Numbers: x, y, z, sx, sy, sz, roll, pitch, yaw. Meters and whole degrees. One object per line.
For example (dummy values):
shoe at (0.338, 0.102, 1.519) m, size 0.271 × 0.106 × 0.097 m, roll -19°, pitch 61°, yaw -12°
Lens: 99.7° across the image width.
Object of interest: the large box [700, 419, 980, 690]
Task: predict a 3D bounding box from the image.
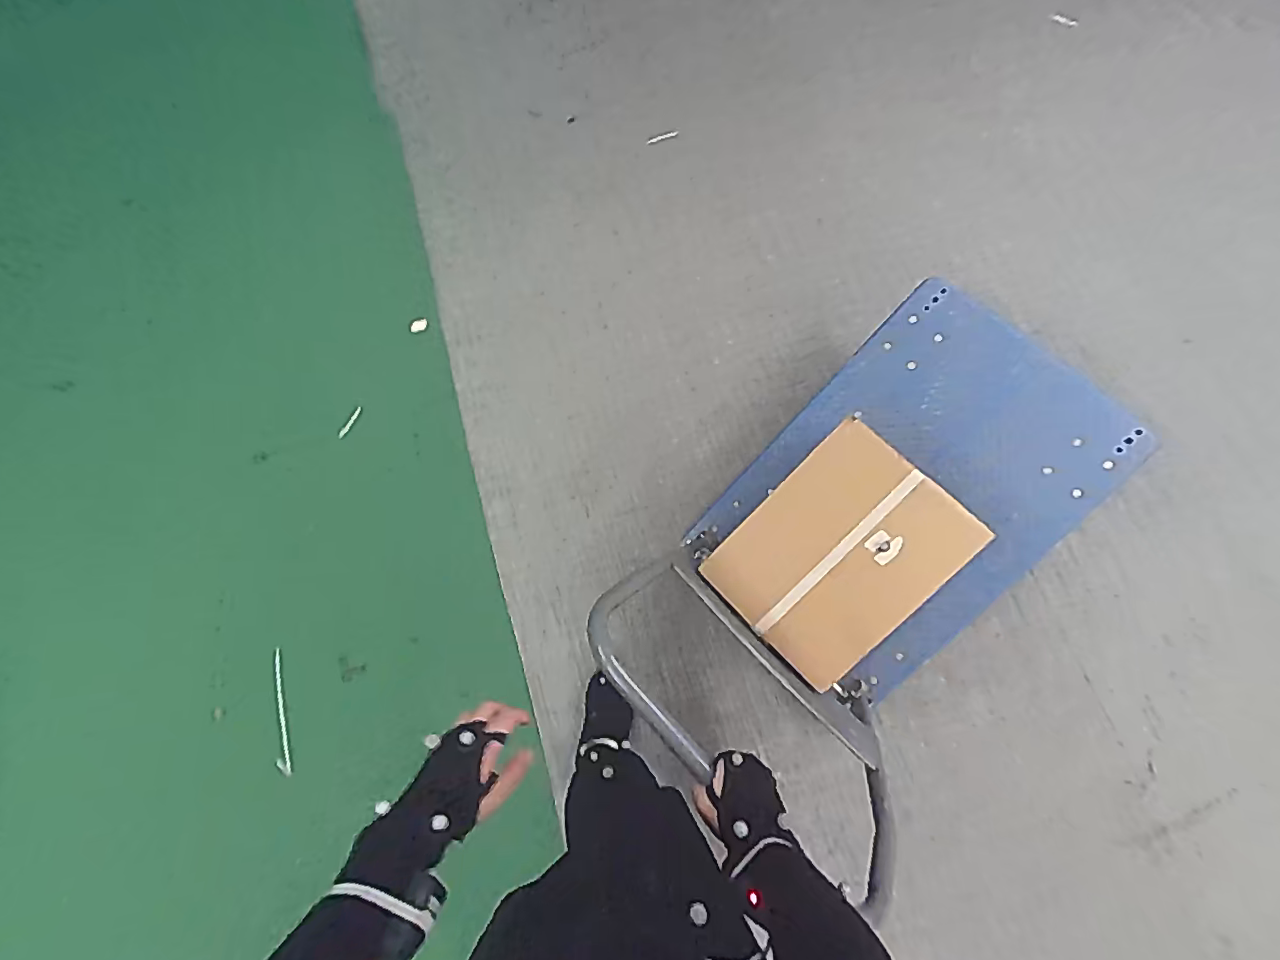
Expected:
large box at (0.386, 0.146, 1.122) m, size 0.320 × 0.320 × 0.408 m, roll 45°, pitch 98°, yaw 13°
